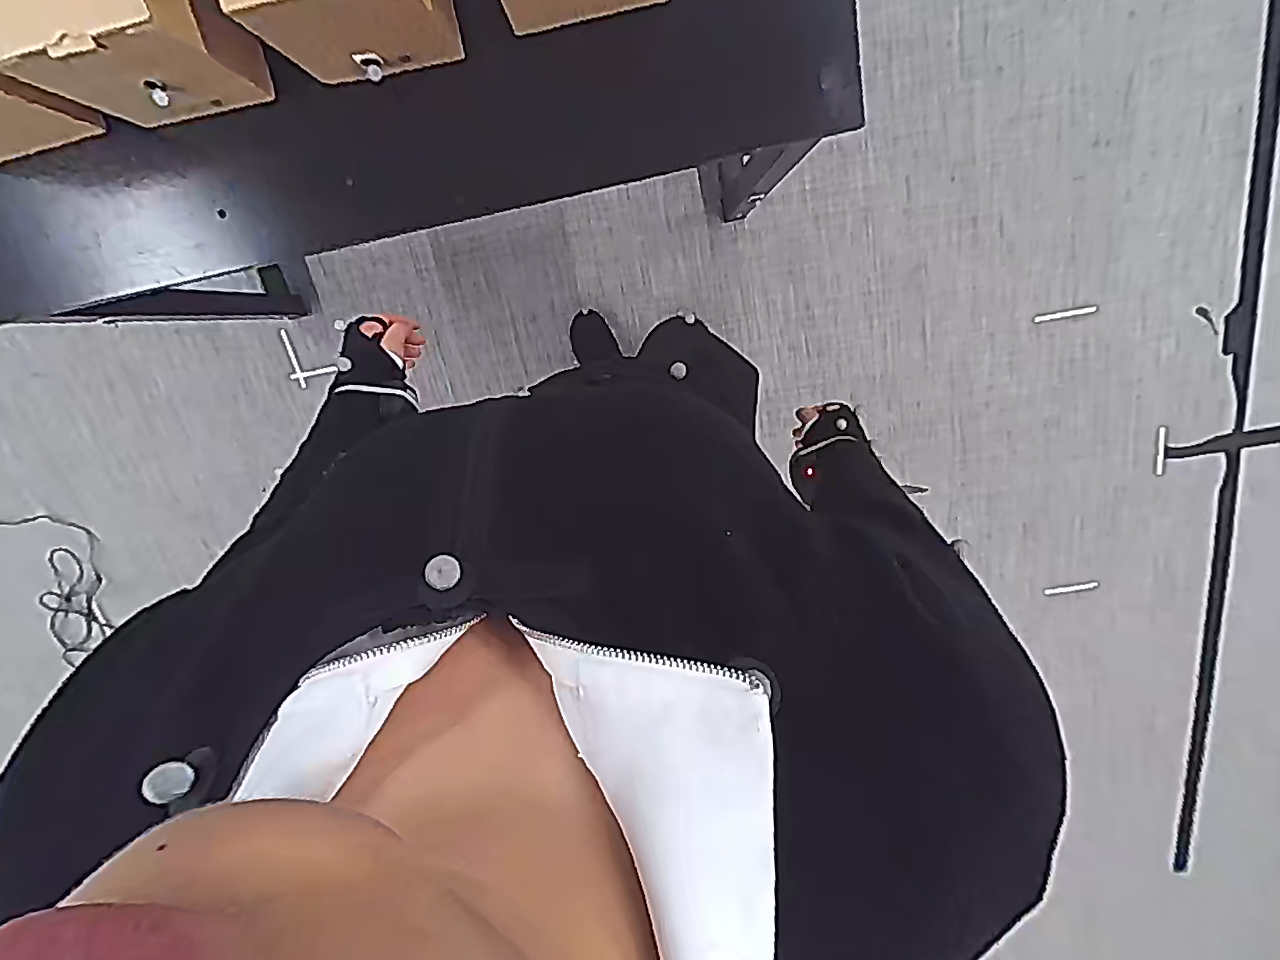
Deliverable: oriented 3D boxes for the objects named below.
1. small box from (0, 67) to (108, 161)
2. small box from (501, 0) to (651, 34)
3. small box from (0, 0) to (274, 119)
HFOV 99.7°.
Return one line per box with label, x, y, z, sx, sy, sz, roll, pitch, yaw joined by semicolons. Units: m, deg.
small box;-0.724;-0.447;0.548;0.179;0.176;0.168;-13;106;3
small box;-0.068;-0.567;0.507;0.179;0.176;0.168;-10;106;3
small box;-0.513;-0.487;0.535;0.168;0.176;0.179;-10;107;4
